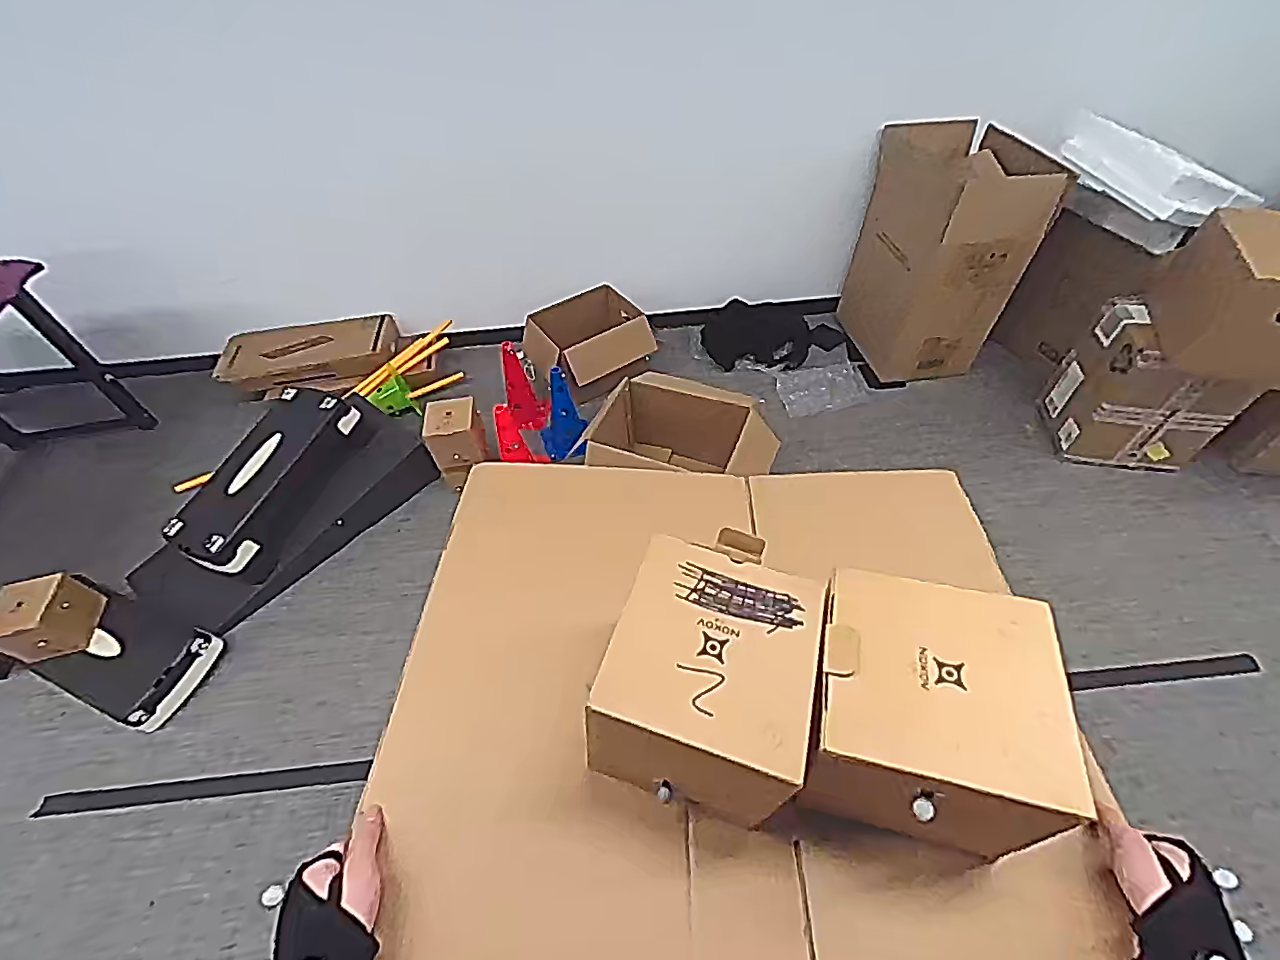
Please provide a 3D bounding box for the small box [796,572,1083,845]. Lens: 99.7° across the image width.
[{"bbox_3d":[0.249,0.211,0.496,0.179,0.176,0.168,8,50,15],"label":"small box"}]
